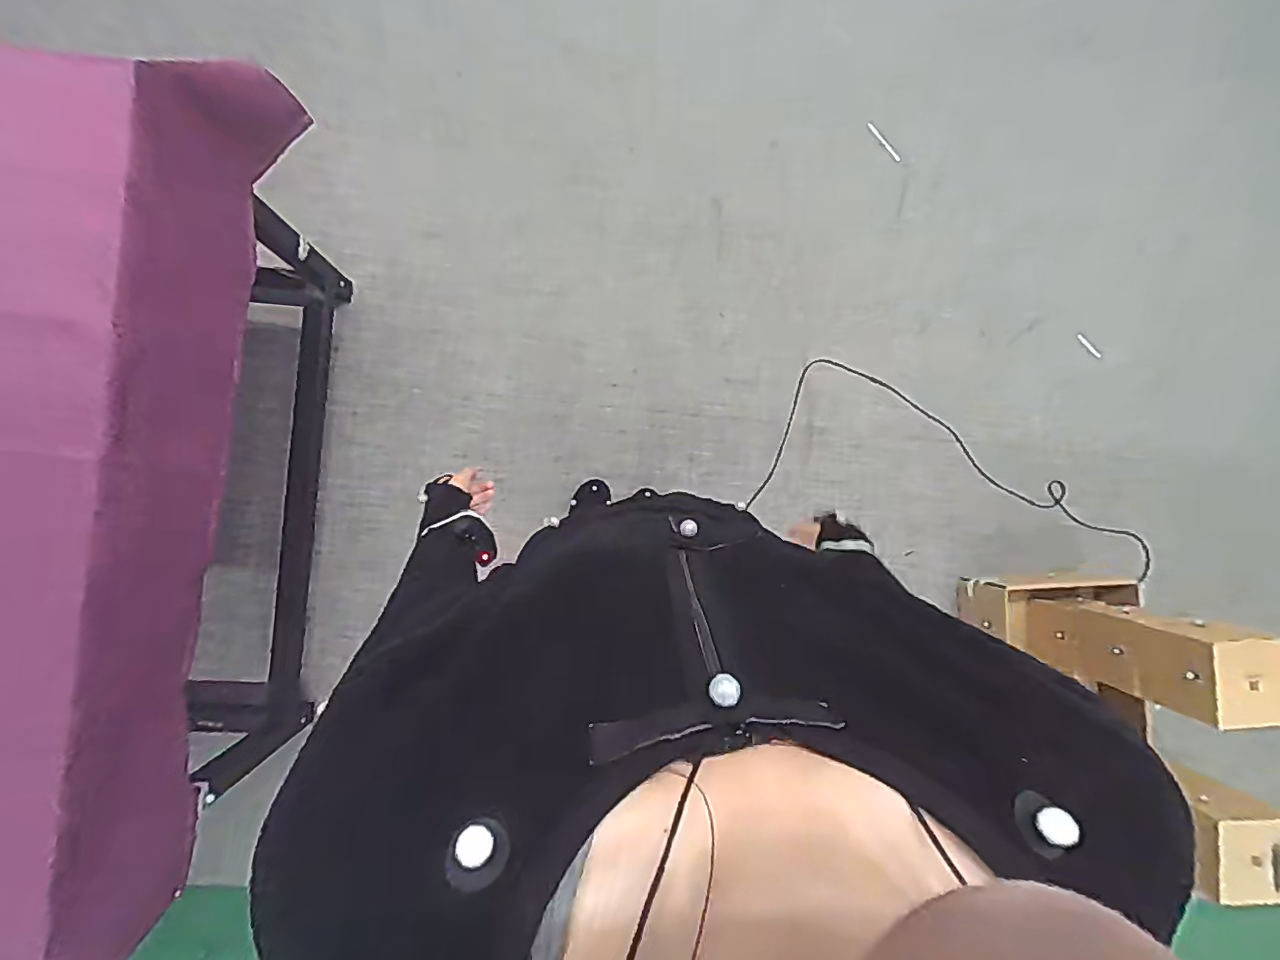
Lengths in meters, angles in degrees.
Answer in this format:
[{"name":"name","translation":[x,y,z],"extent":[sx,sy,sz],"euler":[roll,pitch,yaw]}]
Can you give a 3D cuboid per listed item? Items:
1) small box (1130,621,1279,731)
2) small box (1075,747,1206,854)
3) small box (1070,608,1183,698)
[{"name":"small box","translation":[1.204,0.410,1.155],"extent":[0.168,0.176,0.179],"euler":[-3,88,-3]},{"name":"small box","translation":[1.195,0.765,1.303],"extent":[0.179,0.176,0.168],"euler":[2,89,-5]},{"name":"small box","translation":[1.193,0.415,1.317],"extent":[0.168,0.176,0.179],"euler":[2,89,-3]}]
